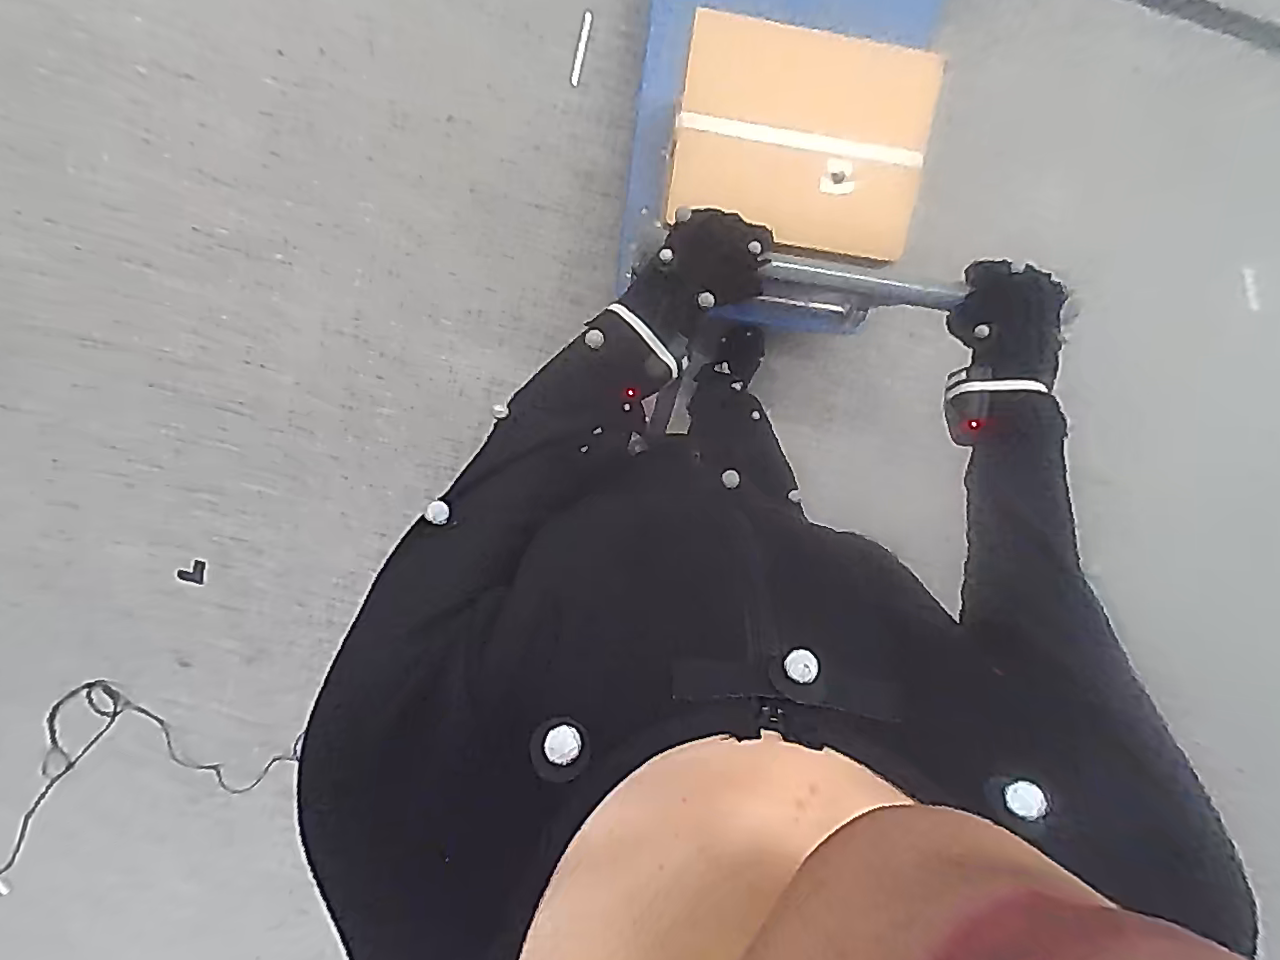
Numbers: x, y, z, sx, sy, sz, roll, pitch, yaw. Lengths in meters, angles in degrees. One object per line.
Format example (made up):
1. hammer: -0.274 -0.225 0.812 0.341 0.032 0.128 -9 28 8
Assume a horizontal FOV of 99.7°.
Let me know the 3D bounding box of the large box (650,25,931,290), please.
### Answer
1. large box: 0.241 -0.561 1.018 0.408 0.320 0.320 7 102 -5
